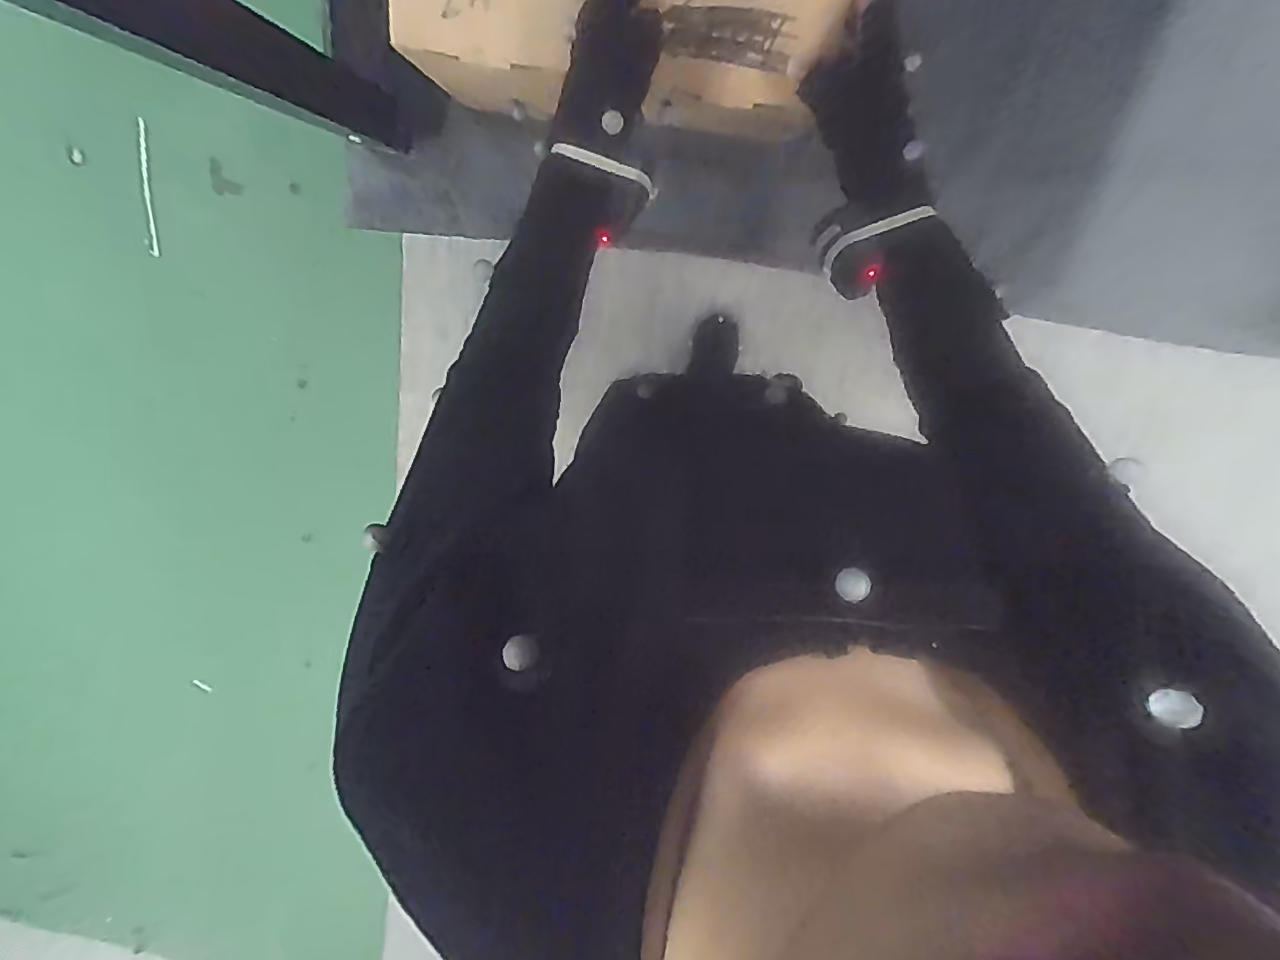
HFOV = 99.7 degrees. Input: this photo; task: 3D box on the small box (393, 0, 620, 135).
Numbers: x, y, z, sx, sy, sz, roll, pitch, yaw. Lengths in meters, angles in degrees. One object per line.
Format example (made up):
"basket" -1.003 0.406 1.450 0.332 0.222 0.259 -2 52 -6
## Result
"small box" -0.113 -0.457 0.509 0.168 0.176 0.179 9 110 1
